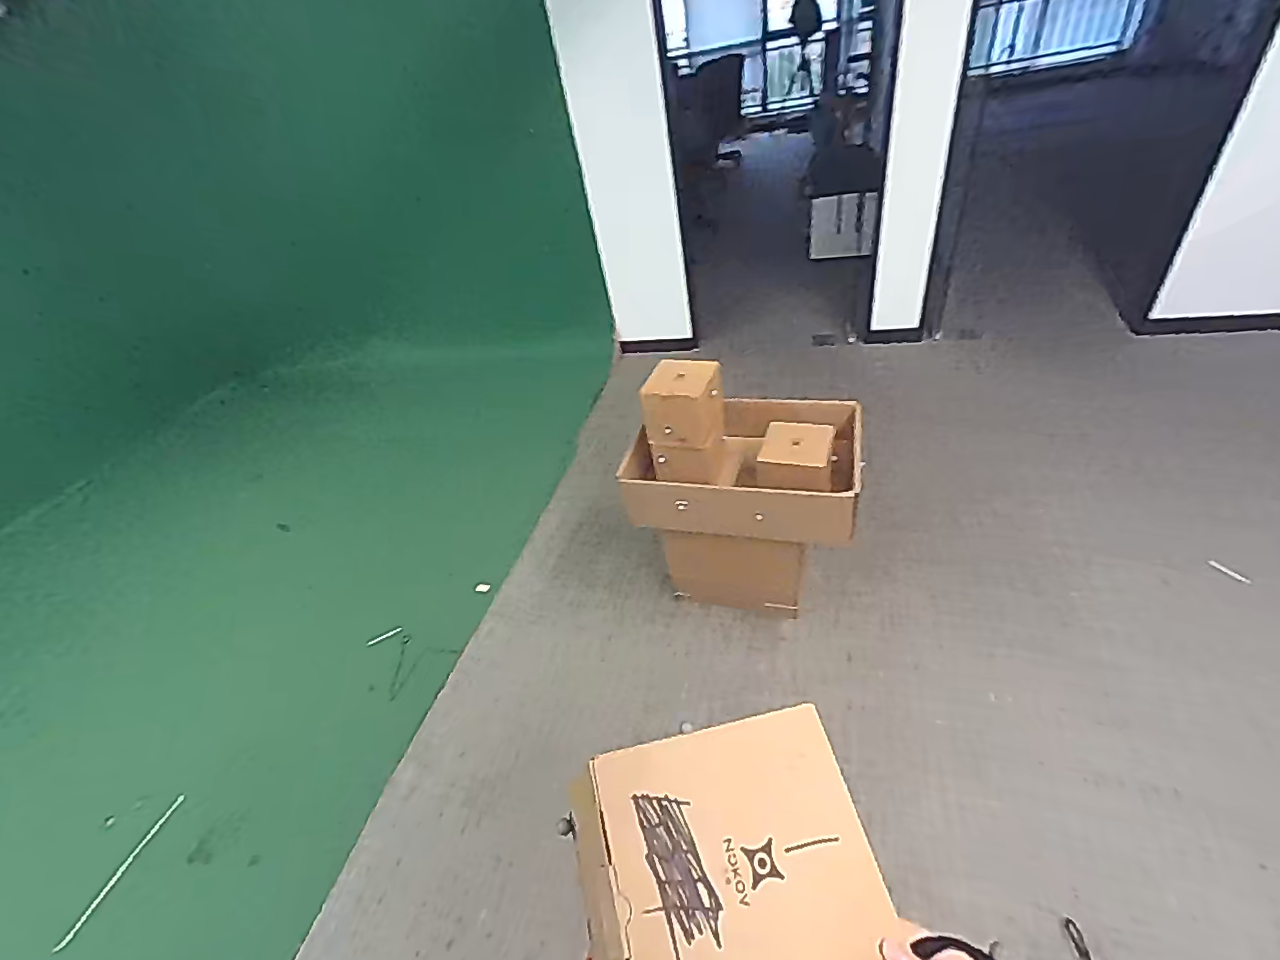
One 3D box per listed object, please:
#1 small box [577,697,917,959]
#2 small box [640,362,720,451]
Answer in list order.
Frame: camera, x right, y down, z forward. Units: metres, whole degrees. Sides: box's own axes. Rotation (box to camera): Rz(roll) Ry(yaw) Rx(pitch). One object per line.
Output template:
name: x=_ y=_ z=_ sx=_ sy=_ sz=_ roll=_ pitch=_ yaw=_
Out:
small box: x=0.053 y=0.283 z=0.406 sx=0.179 sy=0.176 sz=0.168 roll=-5 pitch=58 yaw=-18
small box: x=0.116 y=-0.202 z=1.471 sx=0.168 sy=0.176 sz=0.179 roll=7 pitch=43 yaw=23
